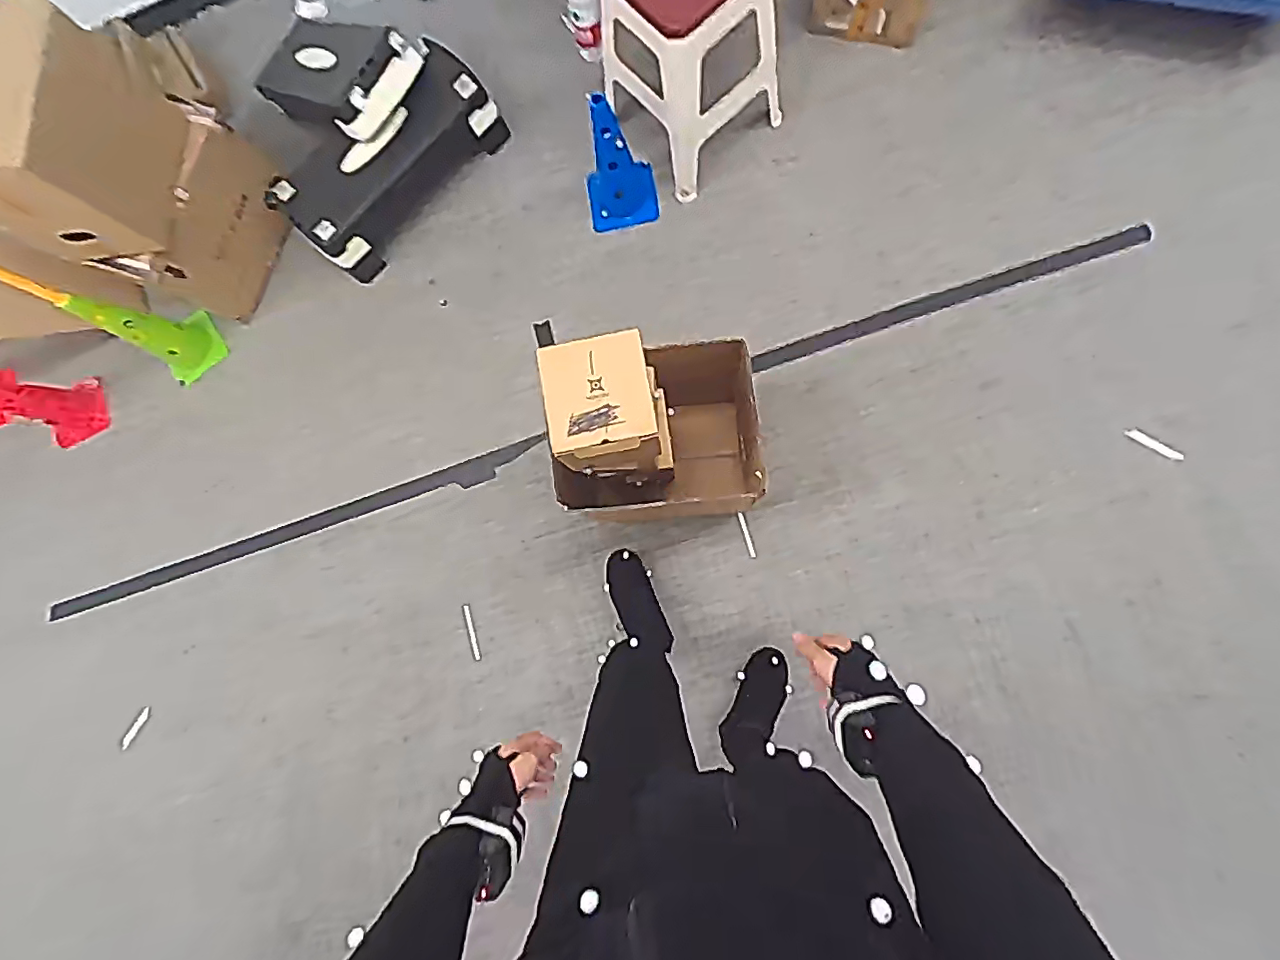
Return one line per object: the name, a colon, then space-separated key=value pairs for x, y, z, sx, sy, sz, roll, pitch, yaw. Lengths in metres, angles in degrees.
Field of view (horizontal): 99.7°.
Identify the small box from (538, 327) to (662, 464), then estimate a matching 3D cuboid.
small box: x=-0.058 y=-0.128 z=0.900 sx=0.168 sy=0.176 sz=0.179 roll=-10 pitch=81 yaw=2
